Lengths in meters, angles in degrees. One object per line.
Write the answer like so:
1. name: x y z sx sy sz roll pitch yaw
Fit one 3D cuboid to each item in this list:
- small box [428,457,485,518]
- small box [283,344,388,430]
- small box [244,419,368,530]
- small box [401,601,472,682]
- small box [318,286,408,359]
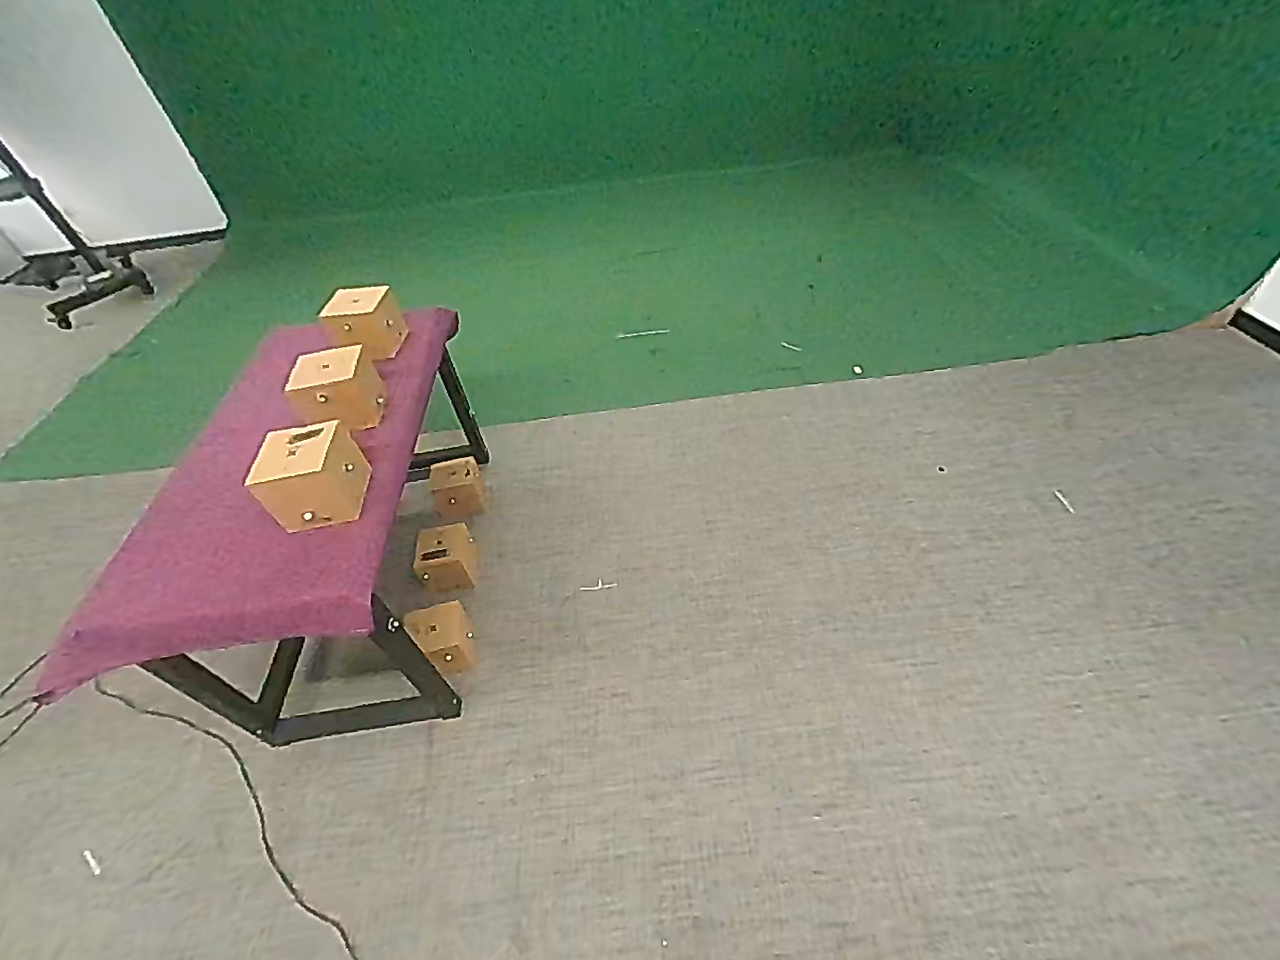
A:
1. small box: -0.746 0.035 2.214 0.179 0.176 0.168 -13 46 -5
2. small box: -0.823 -0.243 1.478 0.179 0.176 0.168 -11 46 -3
3. small box: -0.750 -0.012 1.241 0.168 0.176 0.179 -11 46 -2
4. small box: -0.643 0.519 1.730 0.179 0.176 0.168 -14 46 -7
5. small box: -0.877 -0.500 1.734 0.179 0.176 0.168 -4 47 5
